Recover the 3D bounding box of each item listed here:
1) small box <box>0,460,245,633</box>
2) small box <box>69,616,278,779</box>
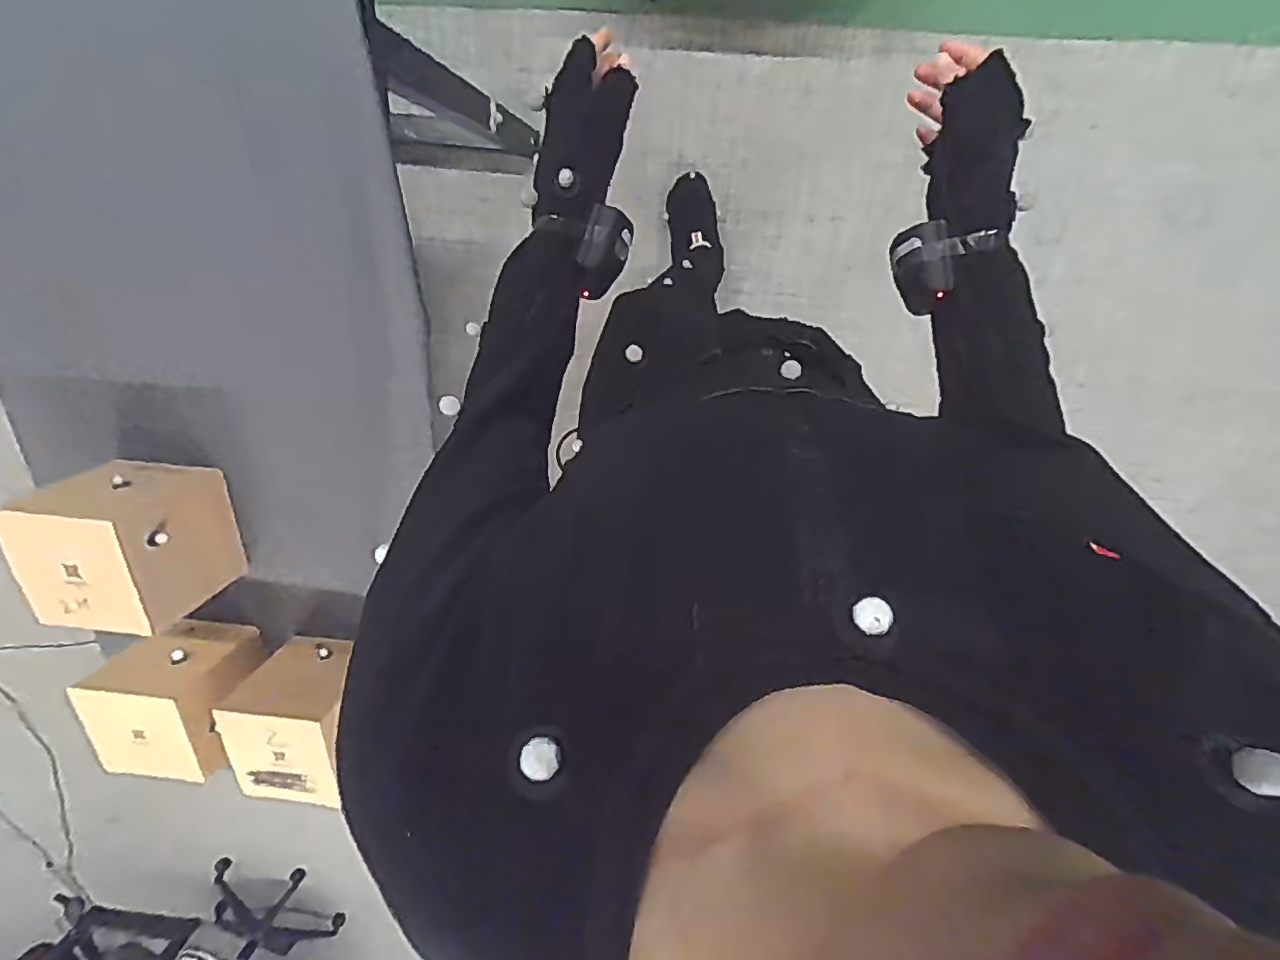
[{"bbox_3d":[-0.701,0.083,0.752,0.168,0.176,0.179,5,114,4],"label":"small box"},{"bbox_3d":[-0.731,0.342,0.872,0.168,0.176,0.179,5,115,4],"label":"small box"}]
